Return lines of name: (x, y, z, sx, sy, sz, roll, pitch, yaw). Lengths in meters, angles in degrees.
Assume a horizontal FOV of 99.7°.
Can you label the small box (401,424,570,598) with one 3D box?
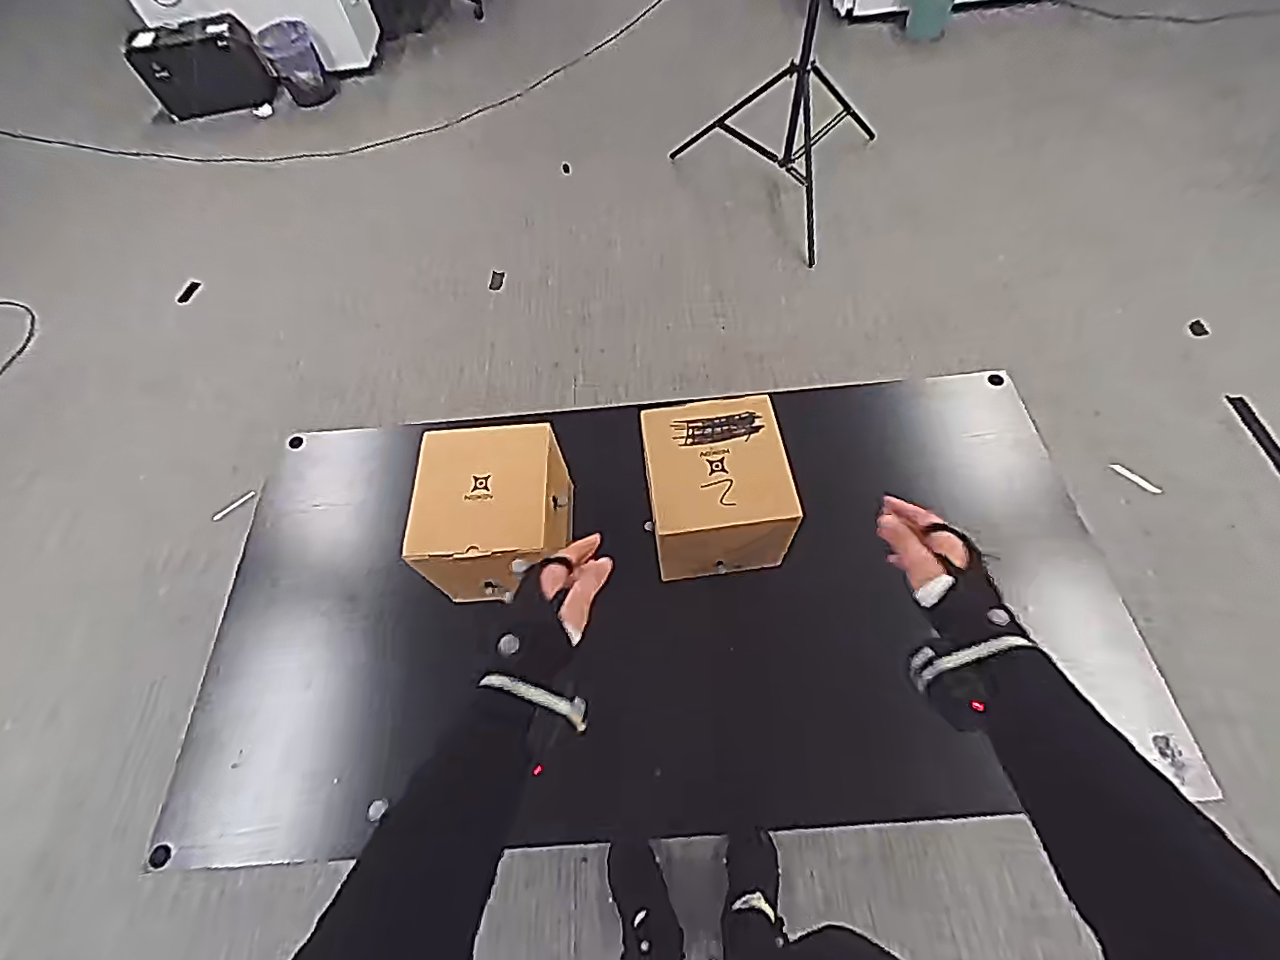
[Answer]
small box: (-0.191, 0.046, 0.725, 0.168, 0.176, 0.179, -4, 61, 2)
